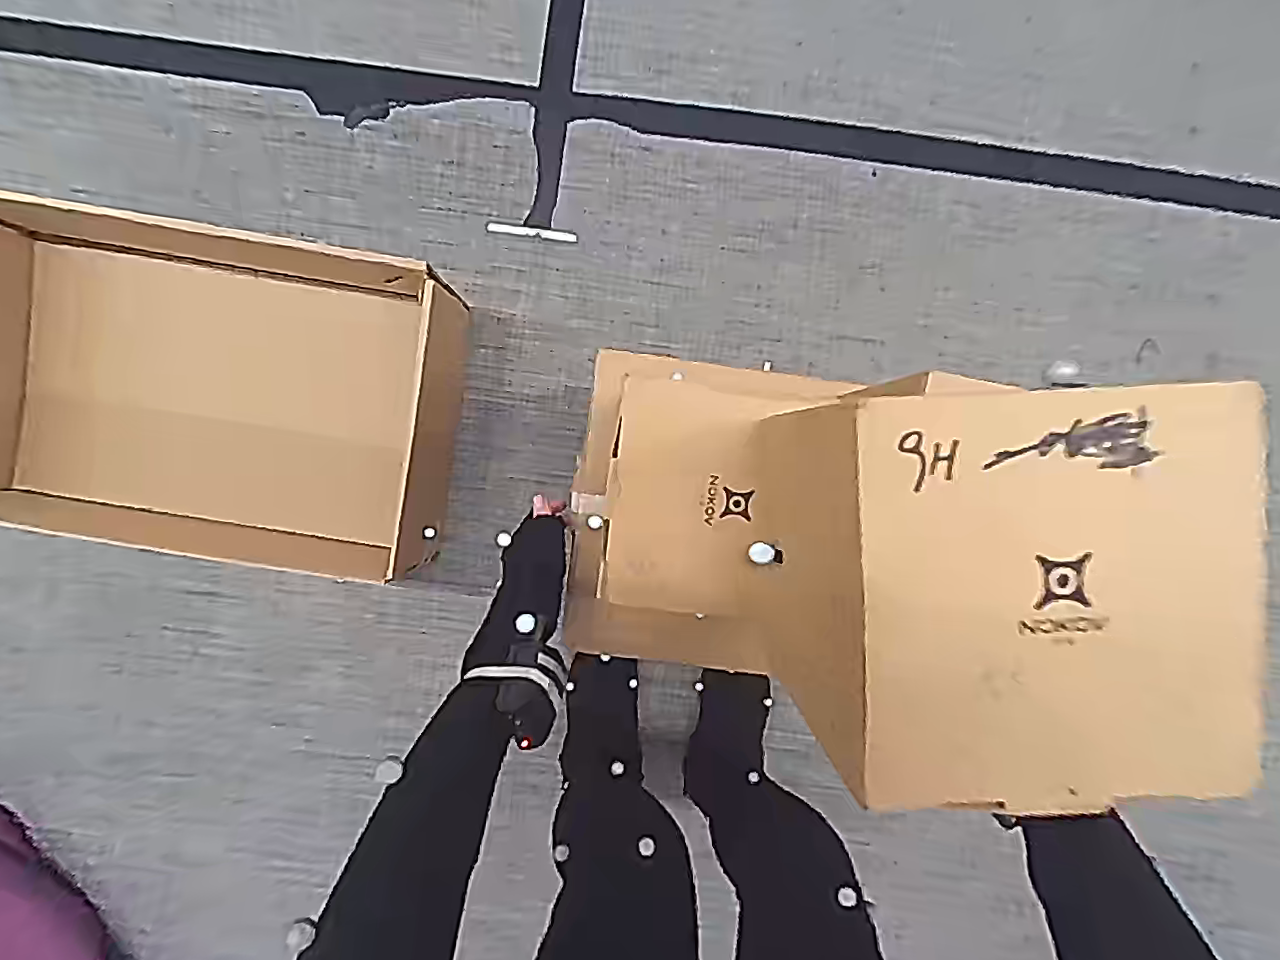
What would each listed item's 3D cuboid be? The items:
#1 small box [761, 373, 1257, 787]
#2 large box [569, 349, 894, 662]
[{"bbox_3d":[0.170,0.038,0.306,0.168,0.176,0.179,-2,94,-1],"label":"small box"},{"bbox_3d":[0.131,0.030,0.712,0.408,0.320,0.320,7,94,-2],"label":"large box"}]
